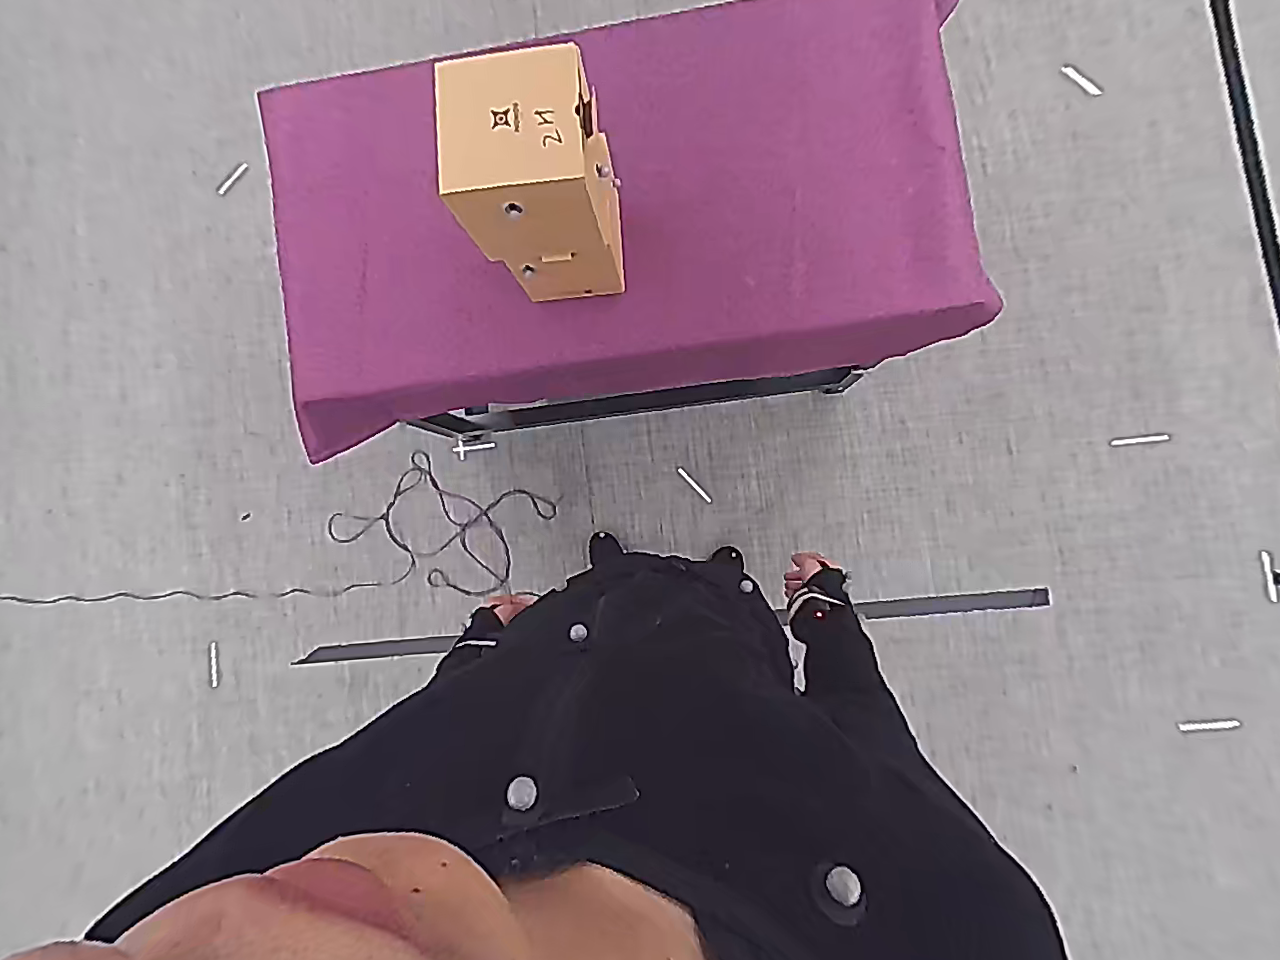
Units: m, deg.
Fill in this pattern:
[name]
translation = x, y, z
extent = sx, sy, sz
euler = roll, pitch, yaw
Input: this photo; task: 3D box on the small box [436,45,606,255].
[small box]
translation = -0.146, -0.414, 0.708
extent = 0.179, 0.176, 0.168
euler = -4, 86, 4
